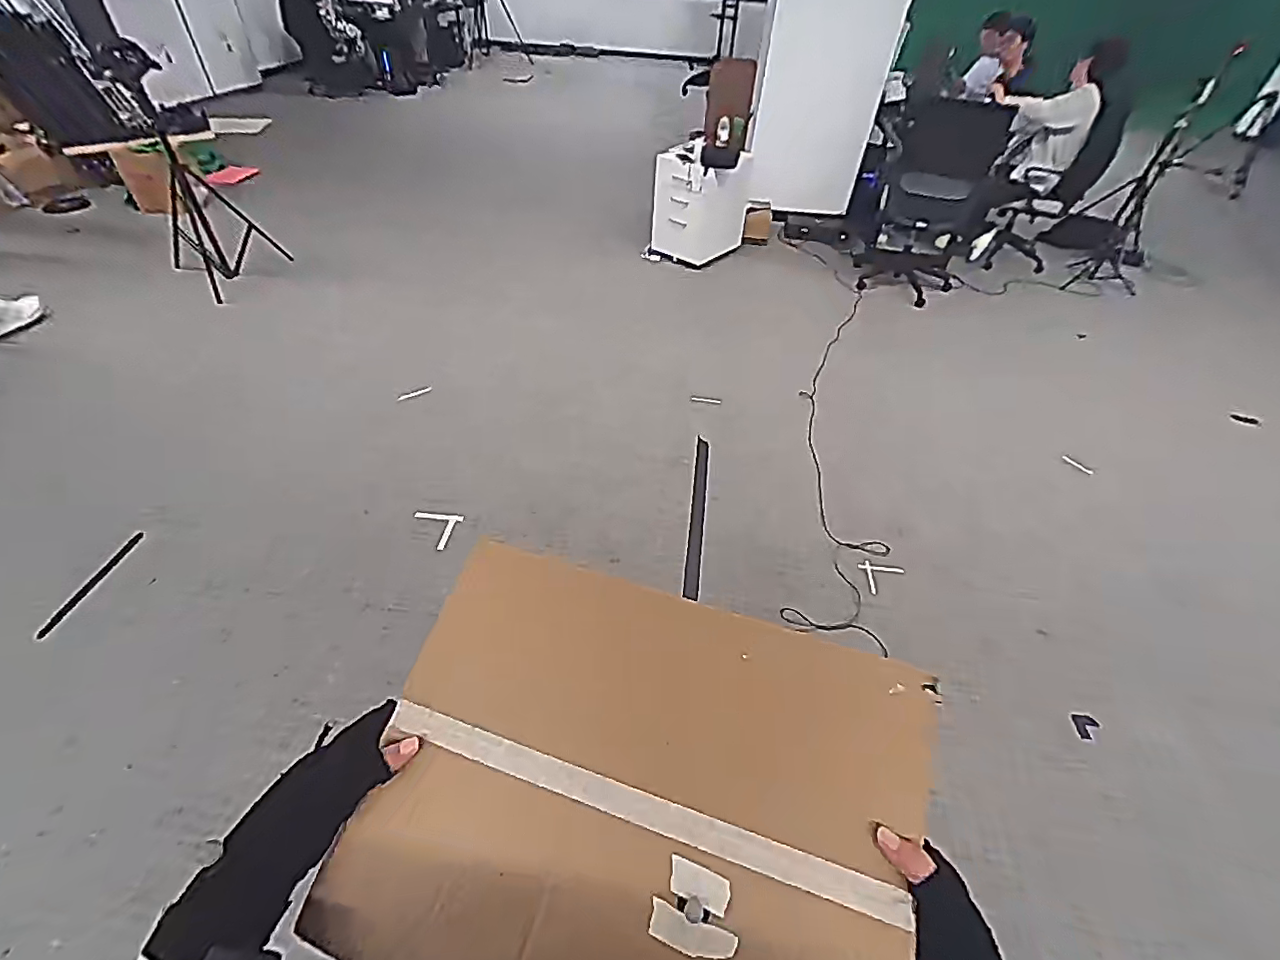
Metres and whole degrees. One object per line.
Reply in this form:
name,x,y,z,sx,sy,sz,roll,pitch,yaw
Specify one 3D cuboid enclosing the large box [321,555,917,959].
large box,0.005,0.311,0.551,0.408,0.320,0.320,14,66,12
